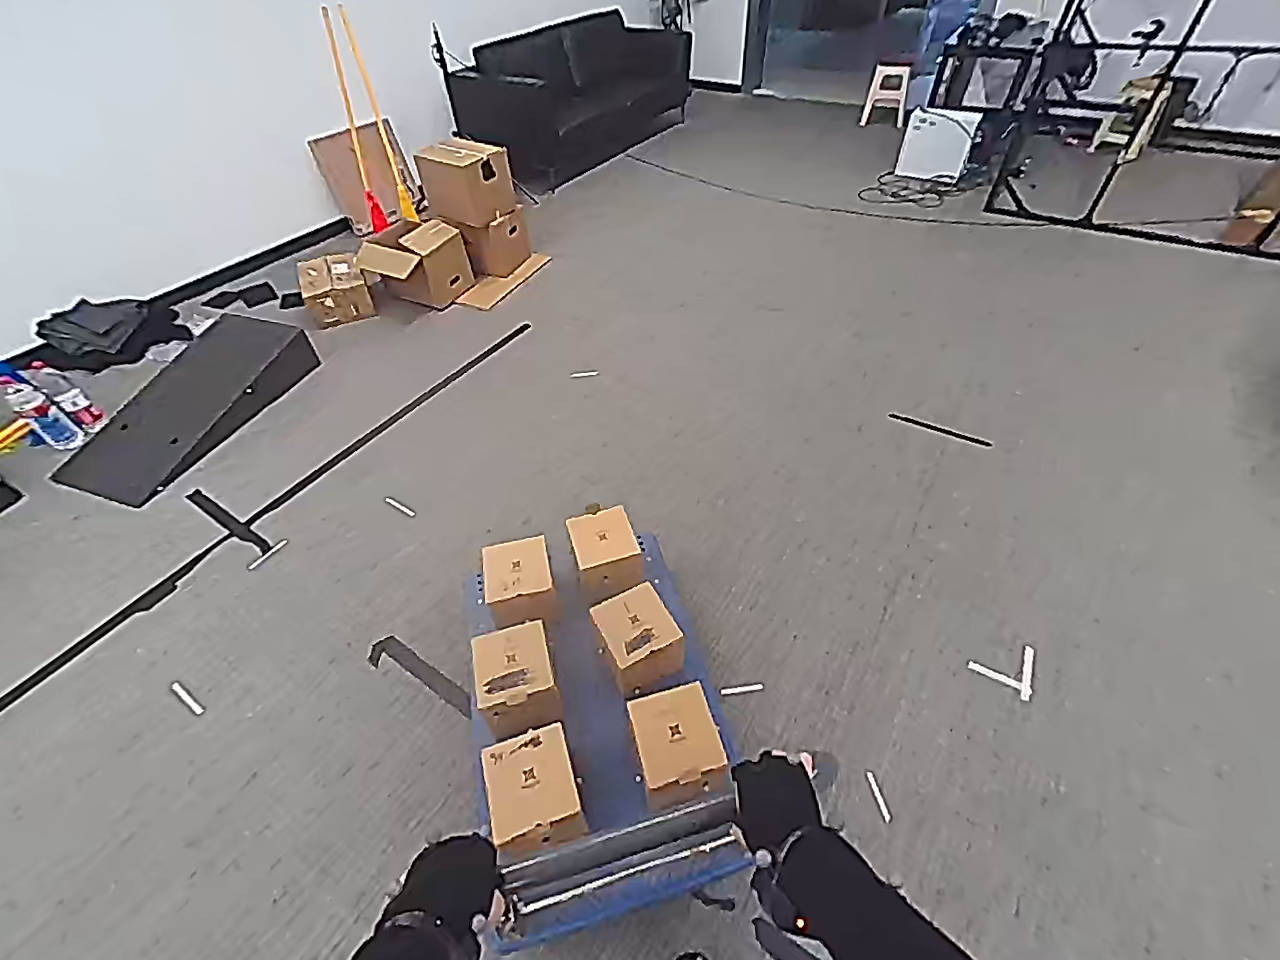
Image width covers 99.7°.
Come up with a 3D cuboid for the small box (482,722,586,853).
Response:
[{"bbox_3d":[-0.212,0.632,1.102,0.168,0.176,0.179,-14,48,-14],"label":"small box"}]

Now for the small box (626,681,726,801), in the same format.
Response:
[{"bbox_3d":[0.073,0.566,1.161,0.168,0.176,0.179,-12,47,-10],"label":"small box"}]

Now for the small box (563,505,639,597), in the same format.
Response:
[{"bbox_3d":[-0.106,0.205,1.507,0.168,0.176,0.179,-15,48,-12],"label":"small box"}]

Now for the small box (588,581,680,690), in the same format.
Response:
[{"bbox_3d":[-0.013,0.389,1.329,0.168,0.176,0.179,-22,49,-18],"label":"small box"}]

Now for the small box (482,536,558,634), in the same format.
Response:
[{"bbox_3d":[-0.318,0.280,1.440,0.168,0.176,0.179,-12,48,-9],"label":"small box"}]
